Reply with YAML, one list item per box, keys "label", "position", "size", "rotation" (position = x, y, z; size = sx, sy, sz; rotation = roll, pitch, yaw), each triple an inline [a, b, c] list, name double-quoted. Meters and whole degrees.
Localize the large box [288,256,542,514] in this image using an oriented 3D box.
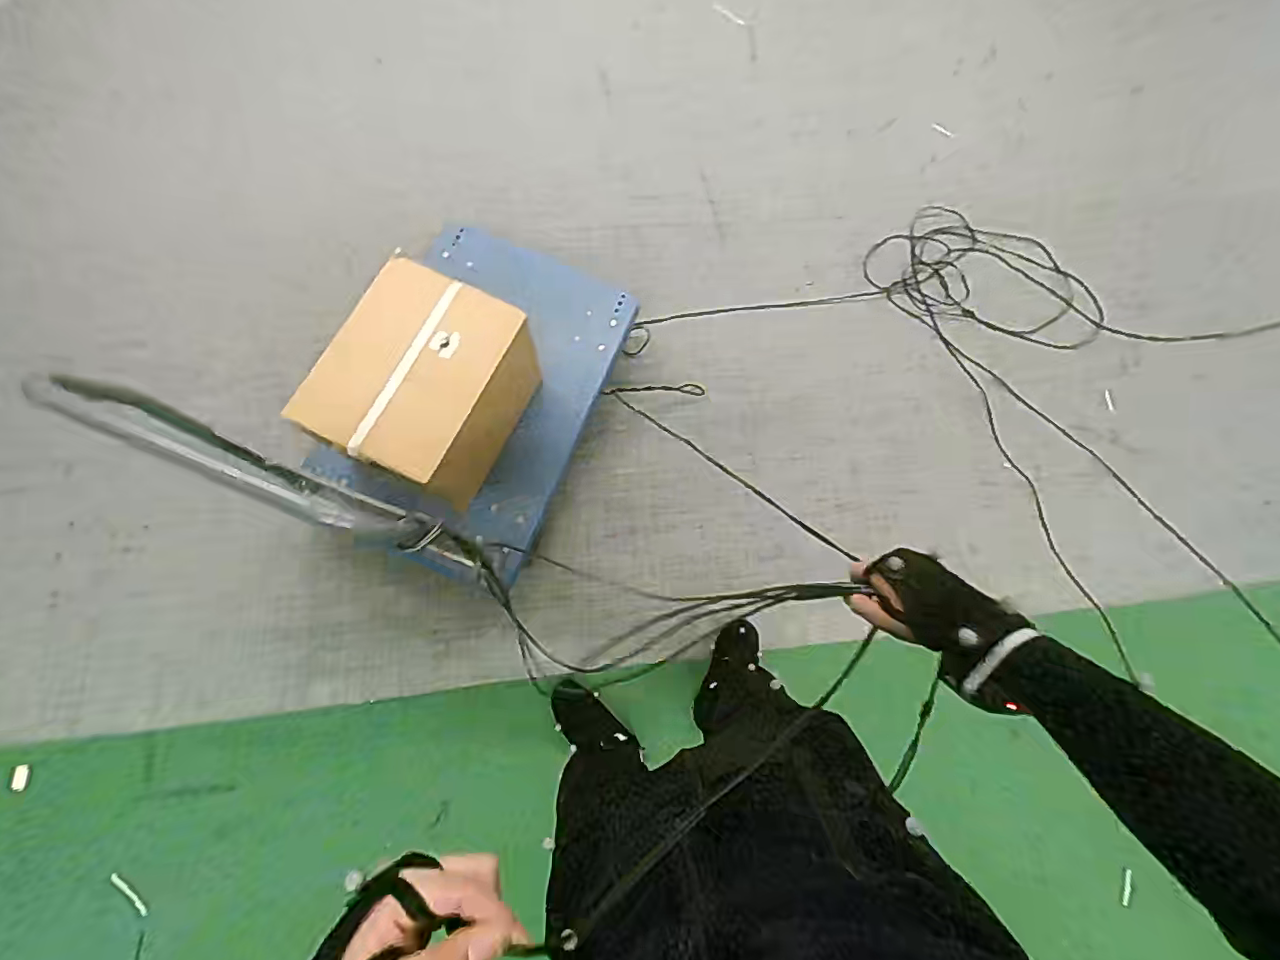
- label: "large box"
  position: [-0.453, -0.187, 1.193]
  size: [0.320, 0.320, 0.408]
  rotation: [25, 74, 2]
